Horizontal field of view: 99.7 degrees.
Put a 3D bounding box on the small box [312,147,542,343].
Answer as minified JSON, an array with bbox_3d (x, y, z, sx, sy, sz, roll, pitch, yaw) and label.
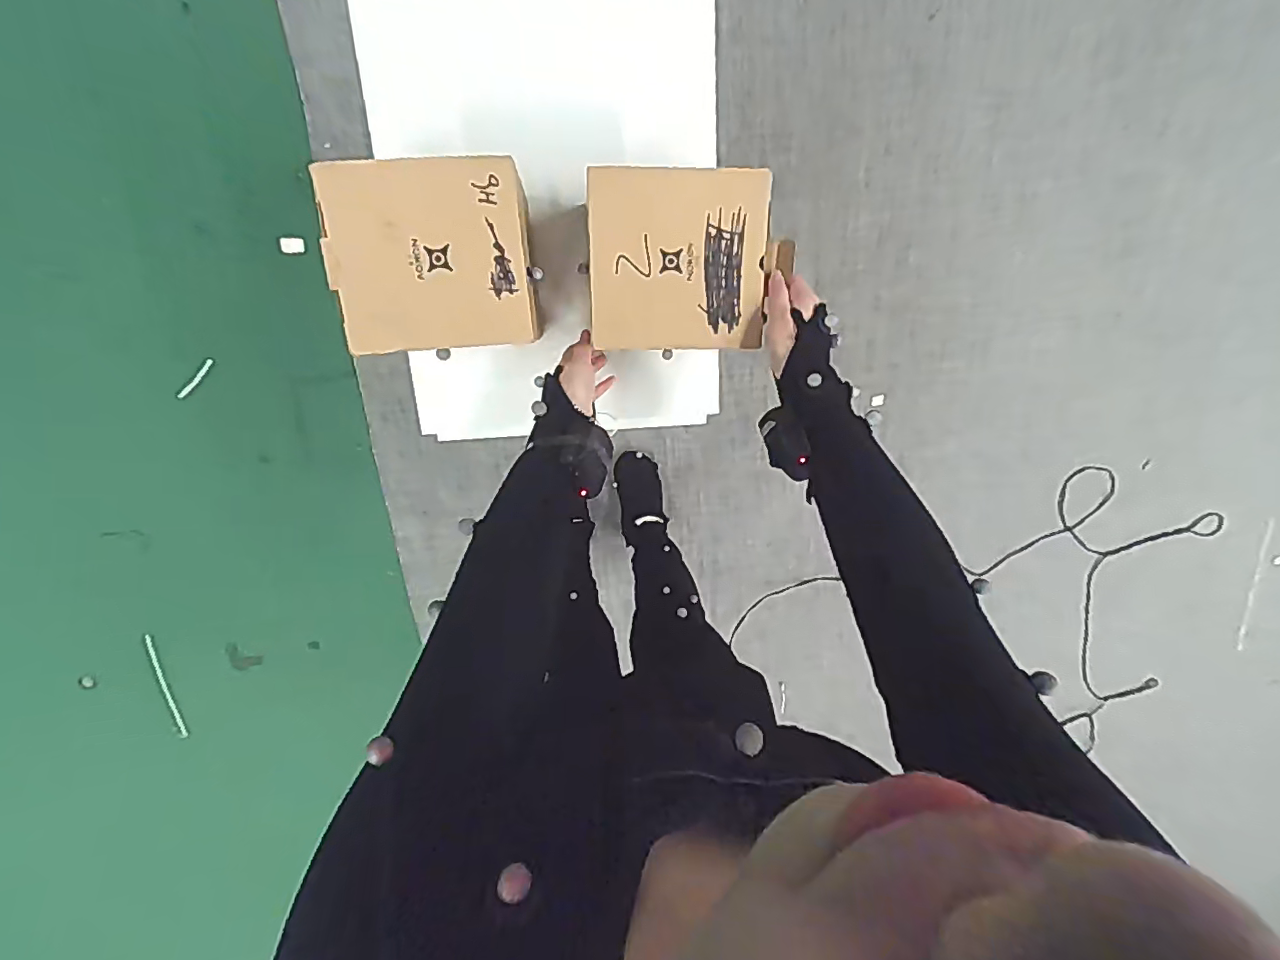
[{"bbox_3d":[-0.204,-0.233,0.573,0.179,0.176,0.168,-5,106,-6],"label":"small box"}]
